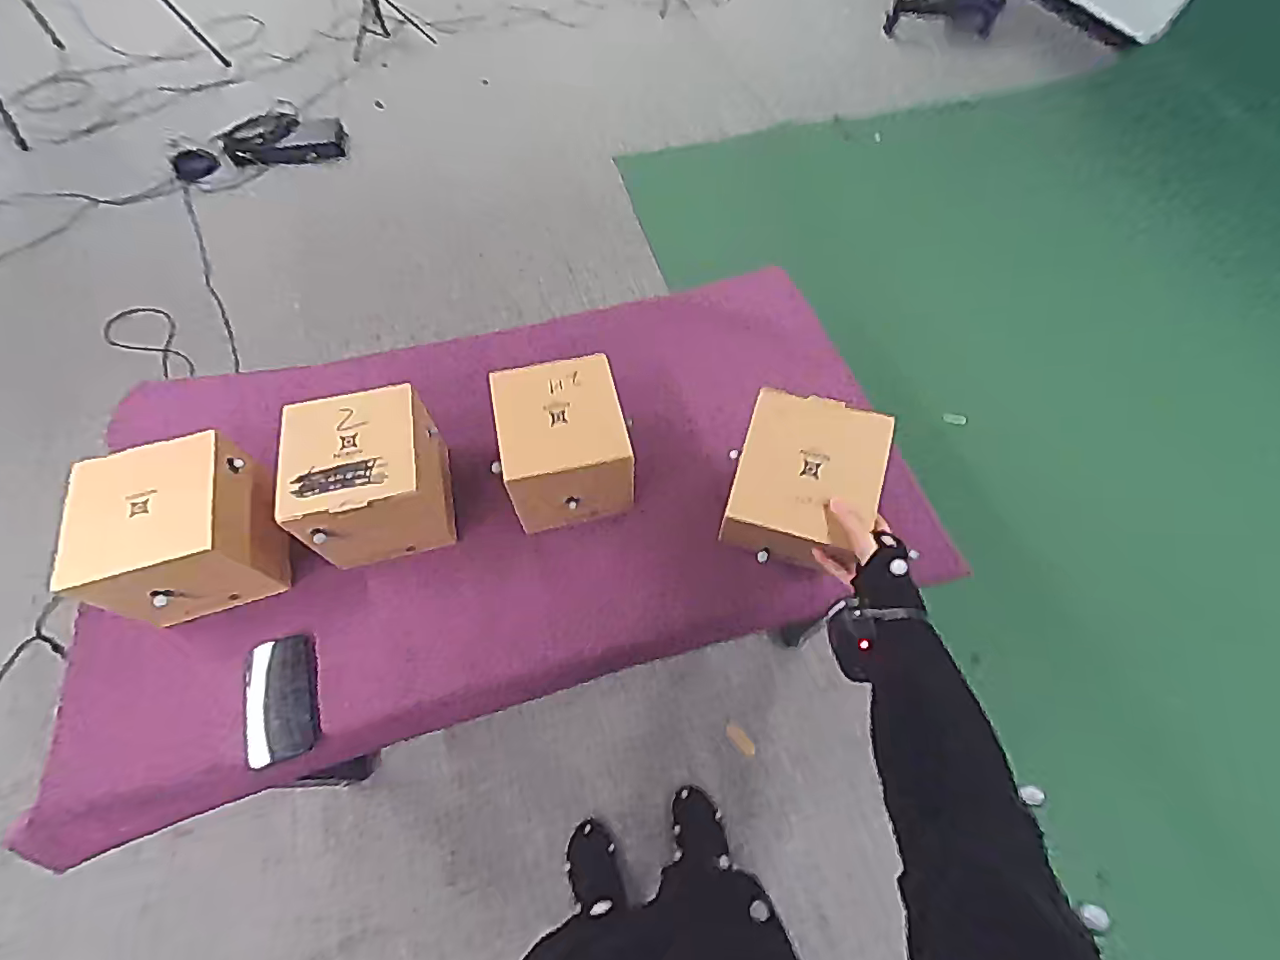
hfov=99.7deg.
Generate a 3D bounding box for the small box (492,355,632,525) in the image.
[{"bbox_3d":[-0.106,-0.047,0.779,0.168,0.176,0.179,-11,62,-7],"label":"small box"}]

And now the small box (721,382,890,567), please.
[{"bbox_3d":[0.206,0.001,0.712,0.168,0.176,0.179,14,74,11],"label":"small box"}]

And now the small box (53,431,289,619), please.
[{"bbox_3d":[-0.589,0.069,0.708,0.168,0.176,0.179,-17,61,-10],"label":"small box"}]
